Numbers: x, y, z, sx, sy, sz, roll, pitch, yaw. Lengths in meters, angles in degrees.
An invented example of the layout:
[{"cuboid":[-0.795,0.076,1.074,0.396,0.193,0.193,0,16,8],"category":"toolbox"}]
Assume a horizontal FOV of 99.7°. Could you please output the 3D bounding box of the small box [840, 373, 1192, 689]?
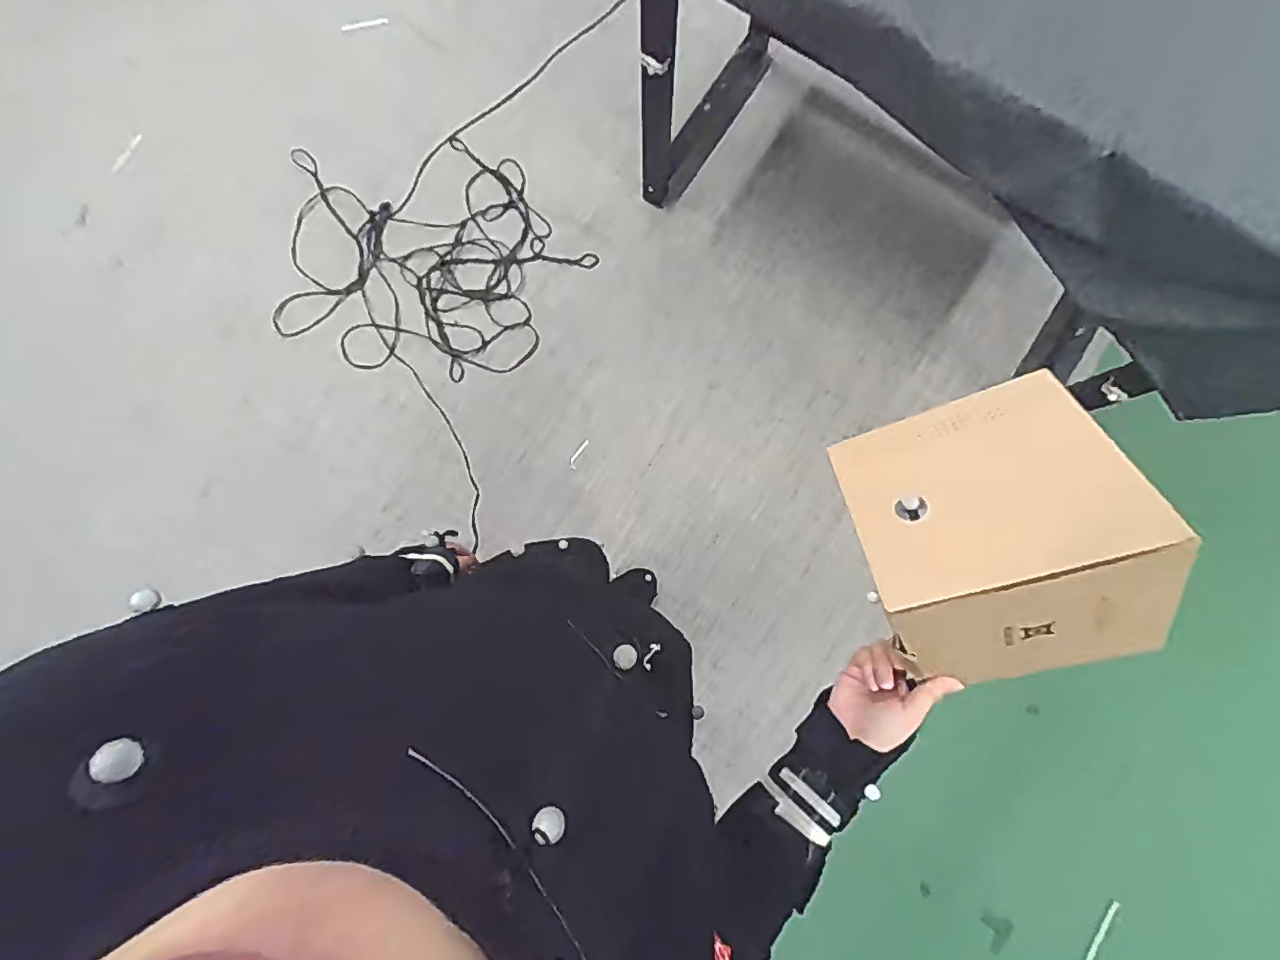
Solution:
[{"cuboid":[0.281,0.046,0.447,0.179,0.168,0.176,-22,43,20],"category":"small box"}]
